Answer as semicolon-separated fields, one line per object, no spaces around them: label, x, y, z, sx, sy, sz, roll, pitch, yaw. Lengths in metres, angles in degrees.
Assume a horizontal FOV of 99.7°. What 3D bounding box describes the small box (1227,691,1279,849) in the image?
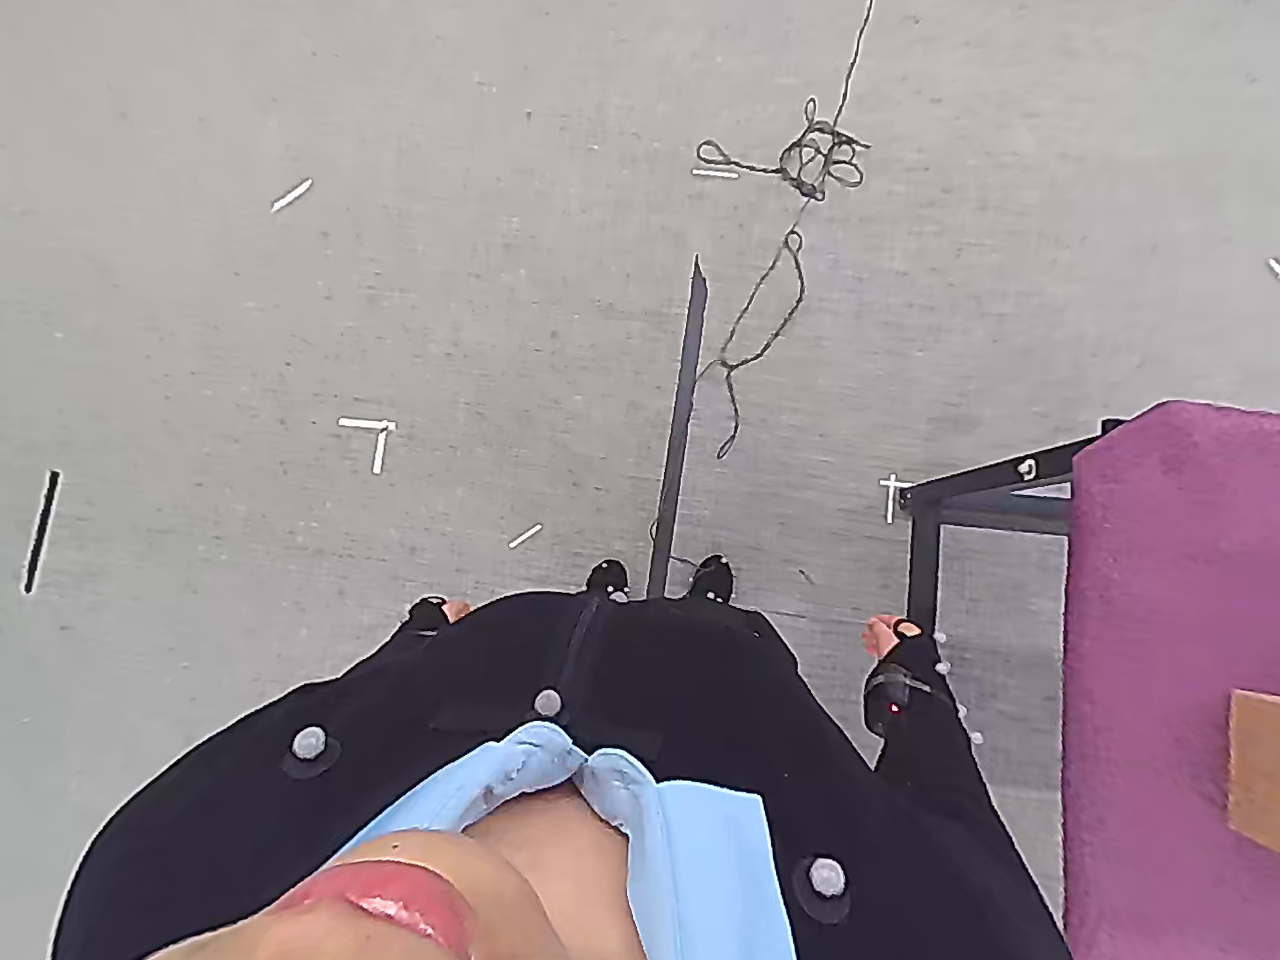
small box;0.839;0.363;0.617;0.168;0.176;0.179;8;84;3
